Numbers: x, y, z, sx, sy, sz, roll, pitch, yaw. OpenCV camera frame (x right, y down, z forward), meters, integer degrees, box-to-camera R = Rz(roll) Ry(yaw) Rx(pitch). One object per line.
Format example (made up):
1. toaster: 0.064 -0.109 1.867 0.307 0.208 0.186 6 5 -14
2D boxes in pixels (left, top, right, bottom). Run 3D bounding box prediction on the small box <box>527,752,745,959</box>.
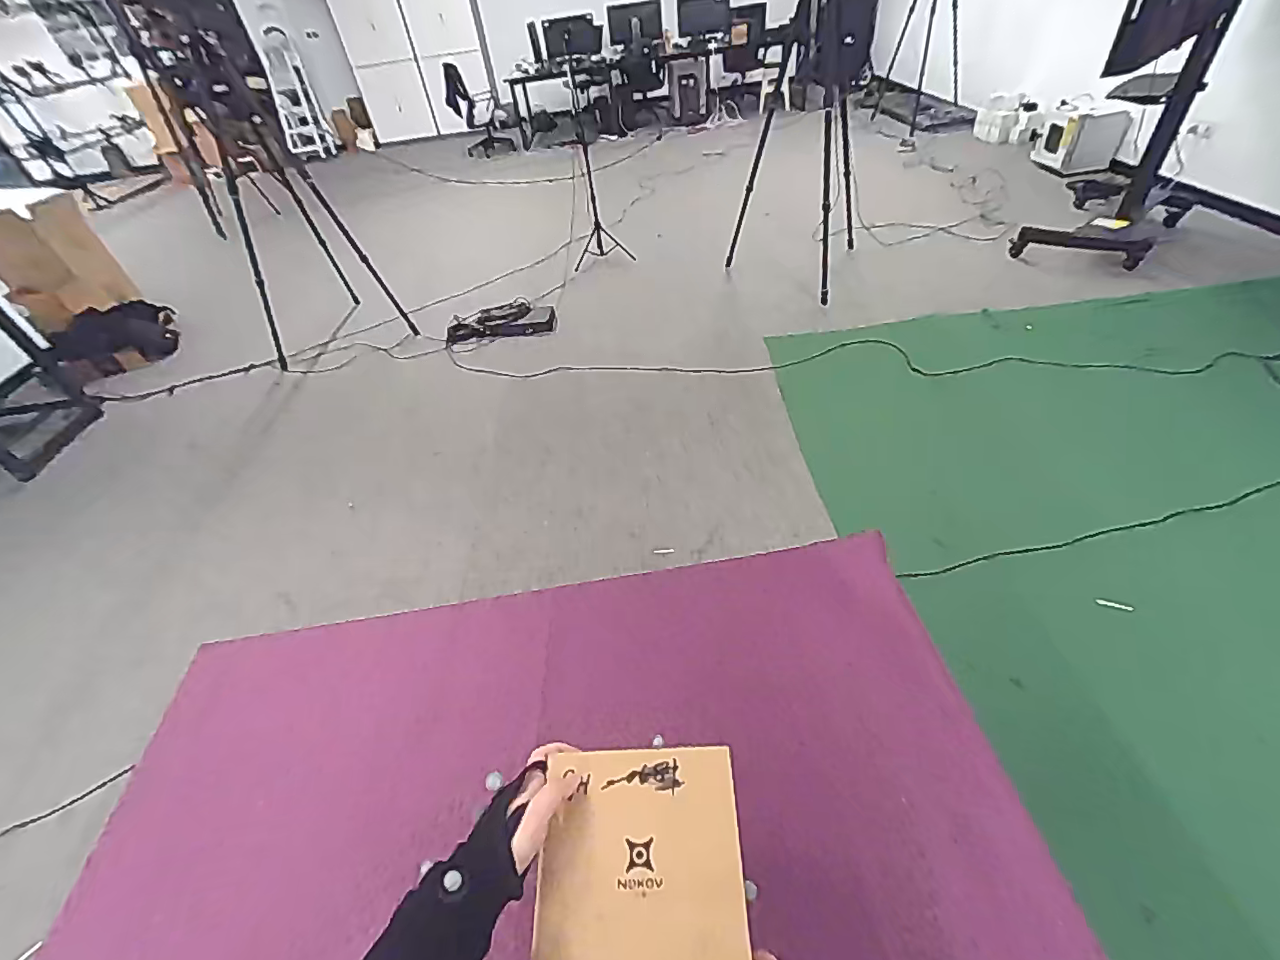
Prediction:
1. small box: 0.006 0.358 0.490 0.168 0.176 0.179 -3 53 5
